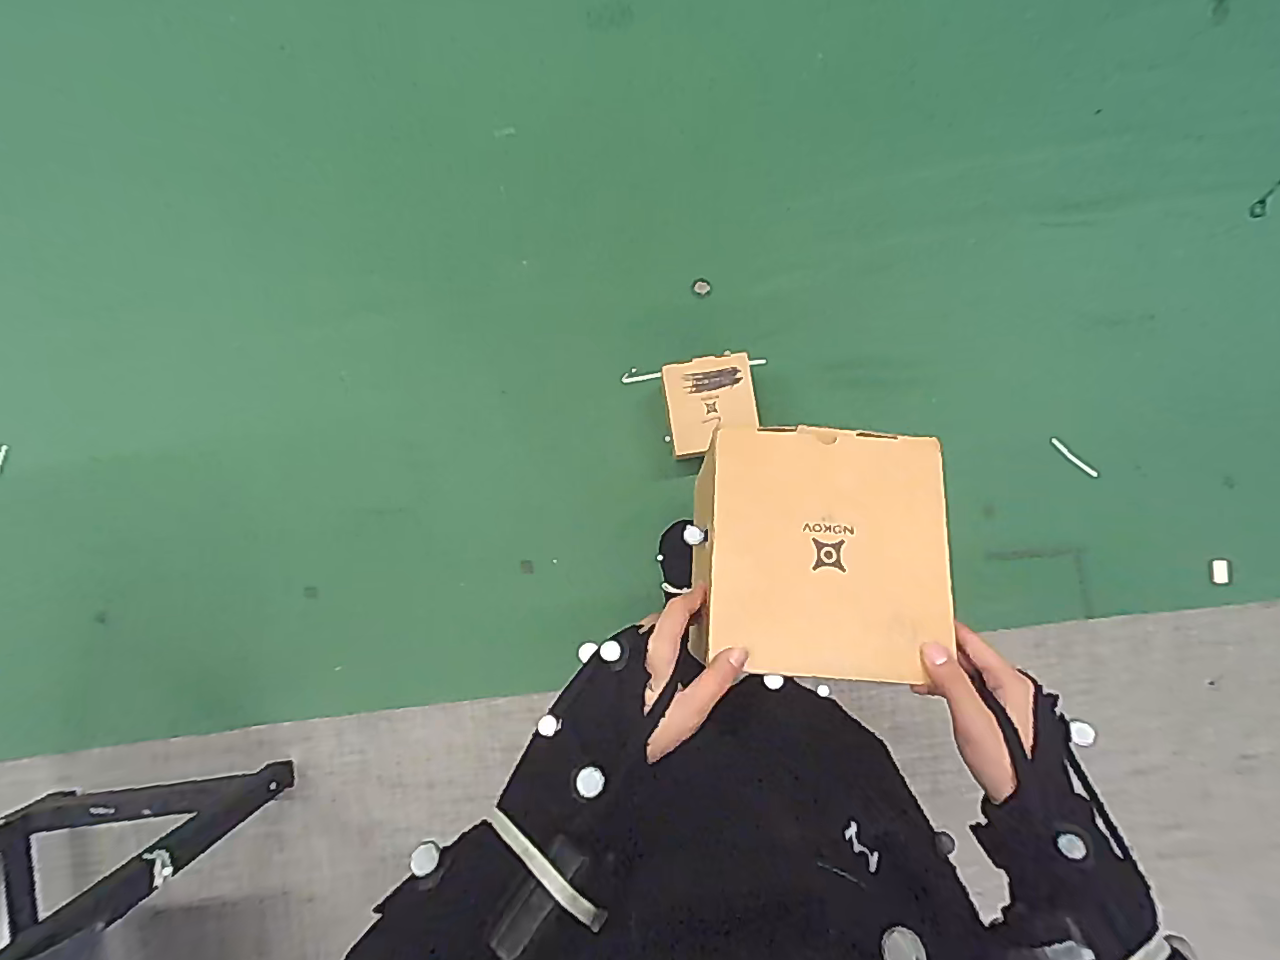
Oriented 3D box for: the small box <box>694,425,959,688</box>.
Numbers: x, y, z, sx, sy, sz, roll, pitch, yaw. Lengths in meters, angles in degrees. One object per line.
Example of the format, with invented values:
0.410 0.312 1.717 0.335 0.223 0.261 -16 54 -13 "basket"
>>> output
0.135 0.068 0.452 0.168 0.176 0.179 3 74 3 "small box"
